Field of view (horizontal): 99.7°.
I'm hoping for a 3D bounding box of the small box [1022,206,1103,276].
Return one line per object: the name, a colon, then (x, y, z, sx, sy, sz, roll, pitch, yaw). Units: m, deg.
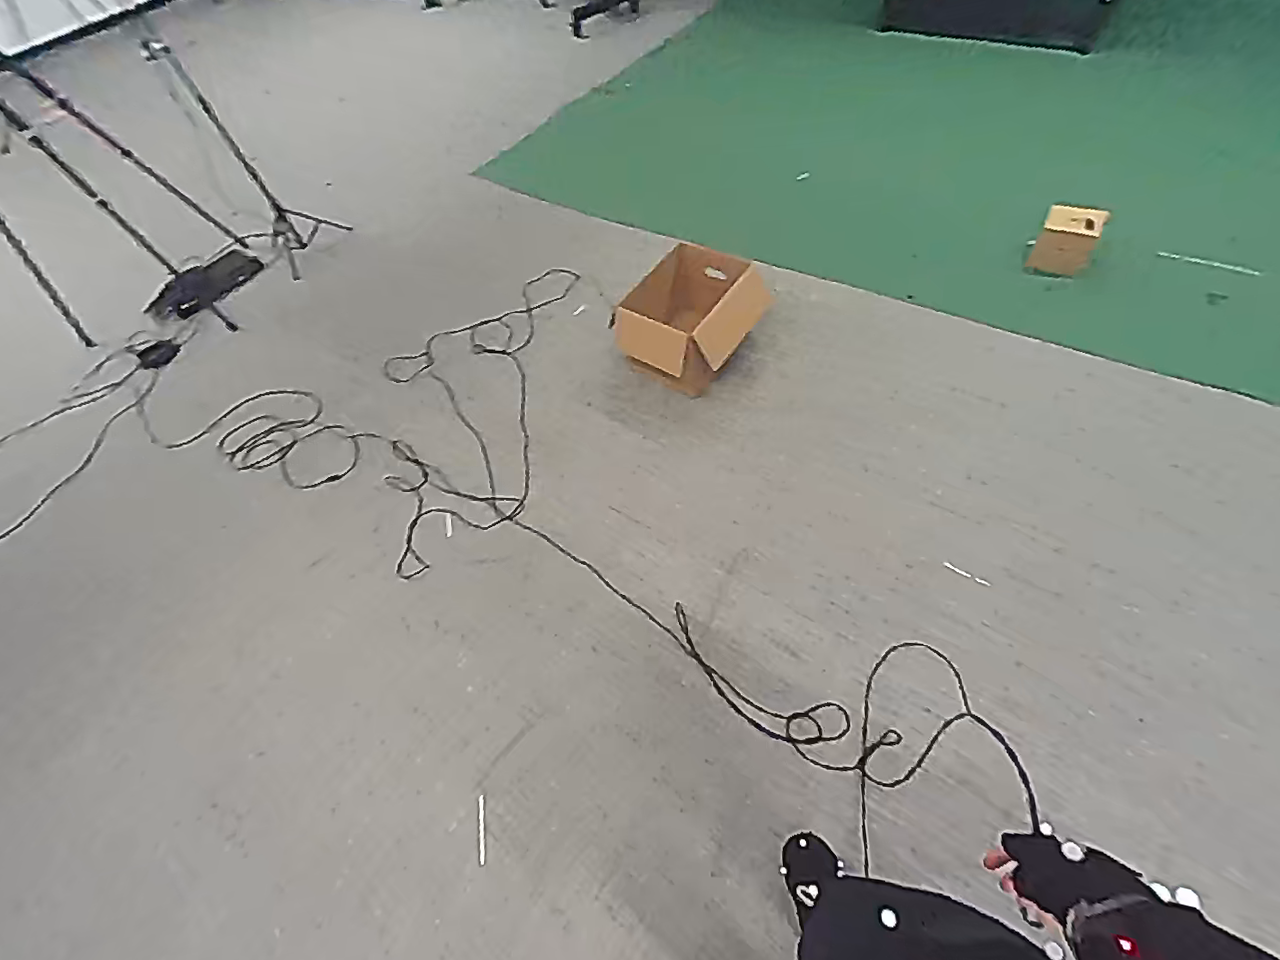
small box: (1.587, -0.896, 2.037, 0.179, 0.176, 0.168, 24, 63, 24)
